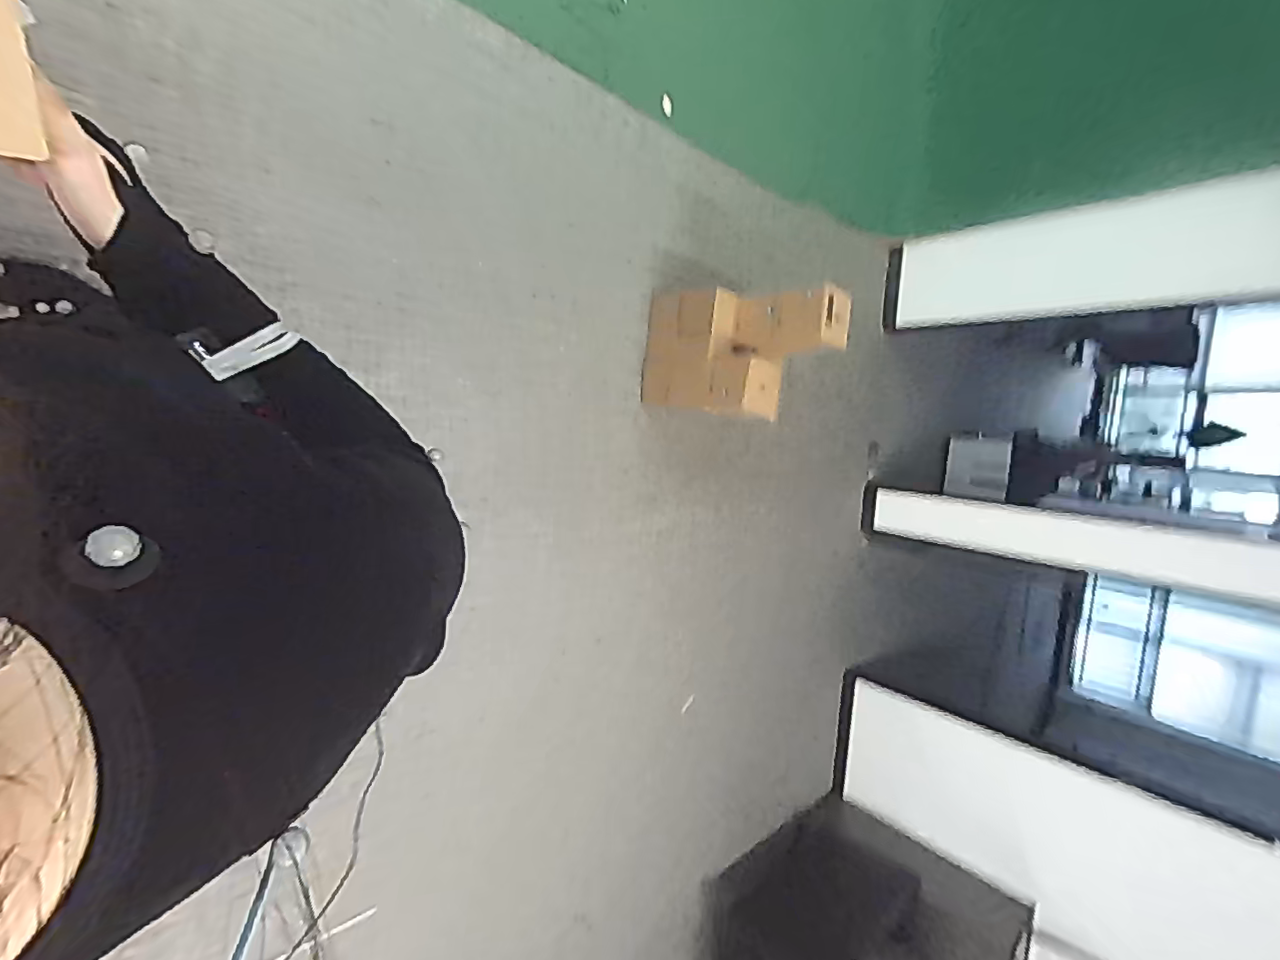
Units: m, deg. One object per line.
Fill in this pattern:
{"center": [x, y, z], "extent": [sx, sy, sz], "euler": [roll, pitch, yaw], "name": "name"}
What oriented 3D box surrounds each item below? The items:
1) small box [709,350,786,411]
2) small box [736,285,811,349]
{"center": [0.349, -0.323, 1.775], "extent": [0.179, 0.176, 0.168], "euler": [6, 95, -44], "name": "small box"}
{"center": [0.450, -0.543, 1.831], "extent": [0.179, 0.176, 0.168], "euler": [6, 92, -44], "name": "small box"}
